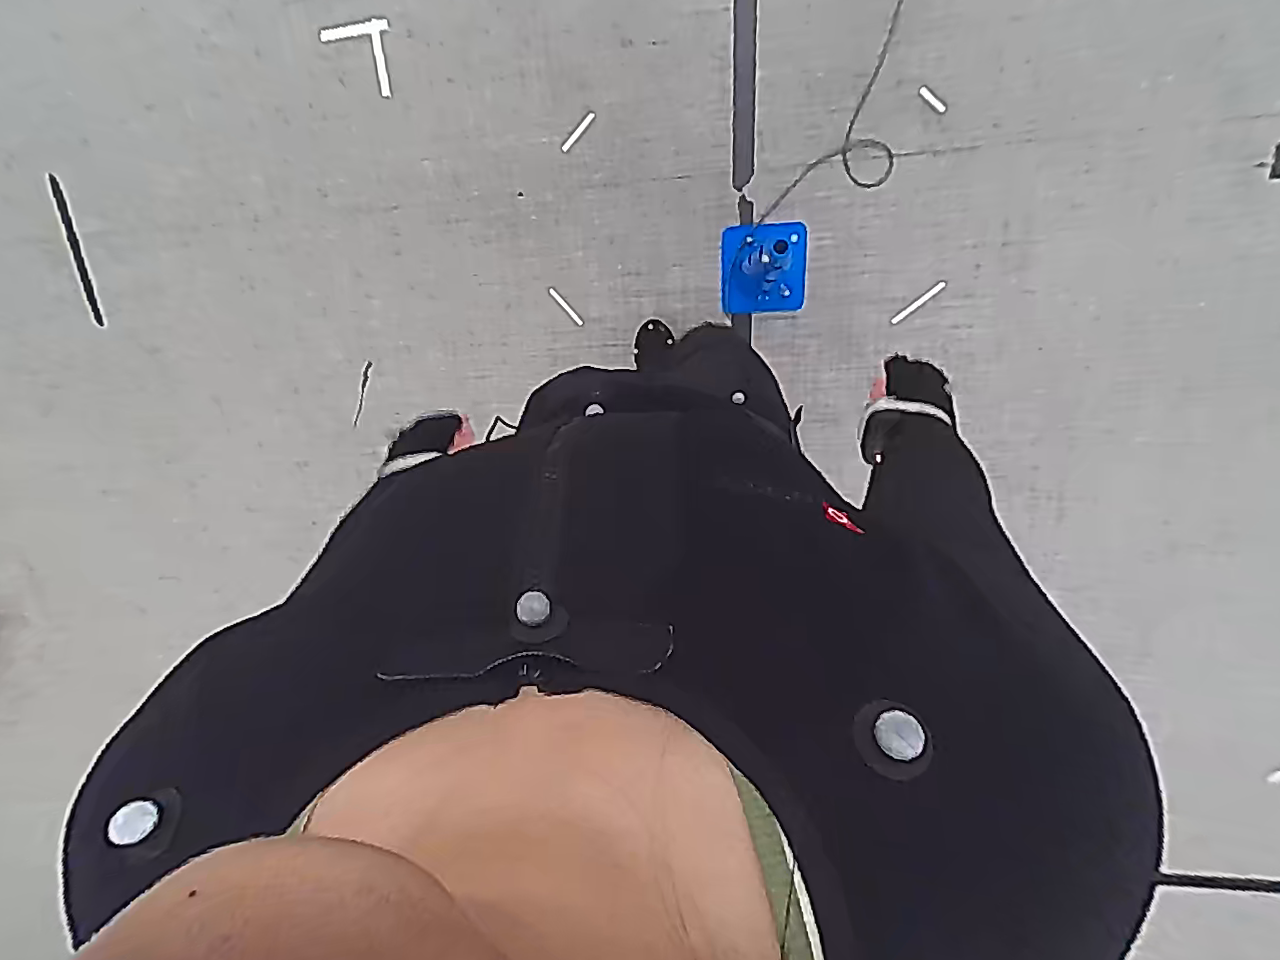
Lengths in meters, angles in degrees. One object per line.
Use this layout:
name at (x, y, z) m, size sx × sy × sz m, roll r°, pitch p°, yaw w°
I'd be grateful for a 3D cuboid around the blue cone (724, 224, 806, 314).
blue cone at (0.280, -0.459, 1.128) m, size 0.193 × 0.380 × 0.192 m, roll -2°, pitch 105°, yaw 7°
